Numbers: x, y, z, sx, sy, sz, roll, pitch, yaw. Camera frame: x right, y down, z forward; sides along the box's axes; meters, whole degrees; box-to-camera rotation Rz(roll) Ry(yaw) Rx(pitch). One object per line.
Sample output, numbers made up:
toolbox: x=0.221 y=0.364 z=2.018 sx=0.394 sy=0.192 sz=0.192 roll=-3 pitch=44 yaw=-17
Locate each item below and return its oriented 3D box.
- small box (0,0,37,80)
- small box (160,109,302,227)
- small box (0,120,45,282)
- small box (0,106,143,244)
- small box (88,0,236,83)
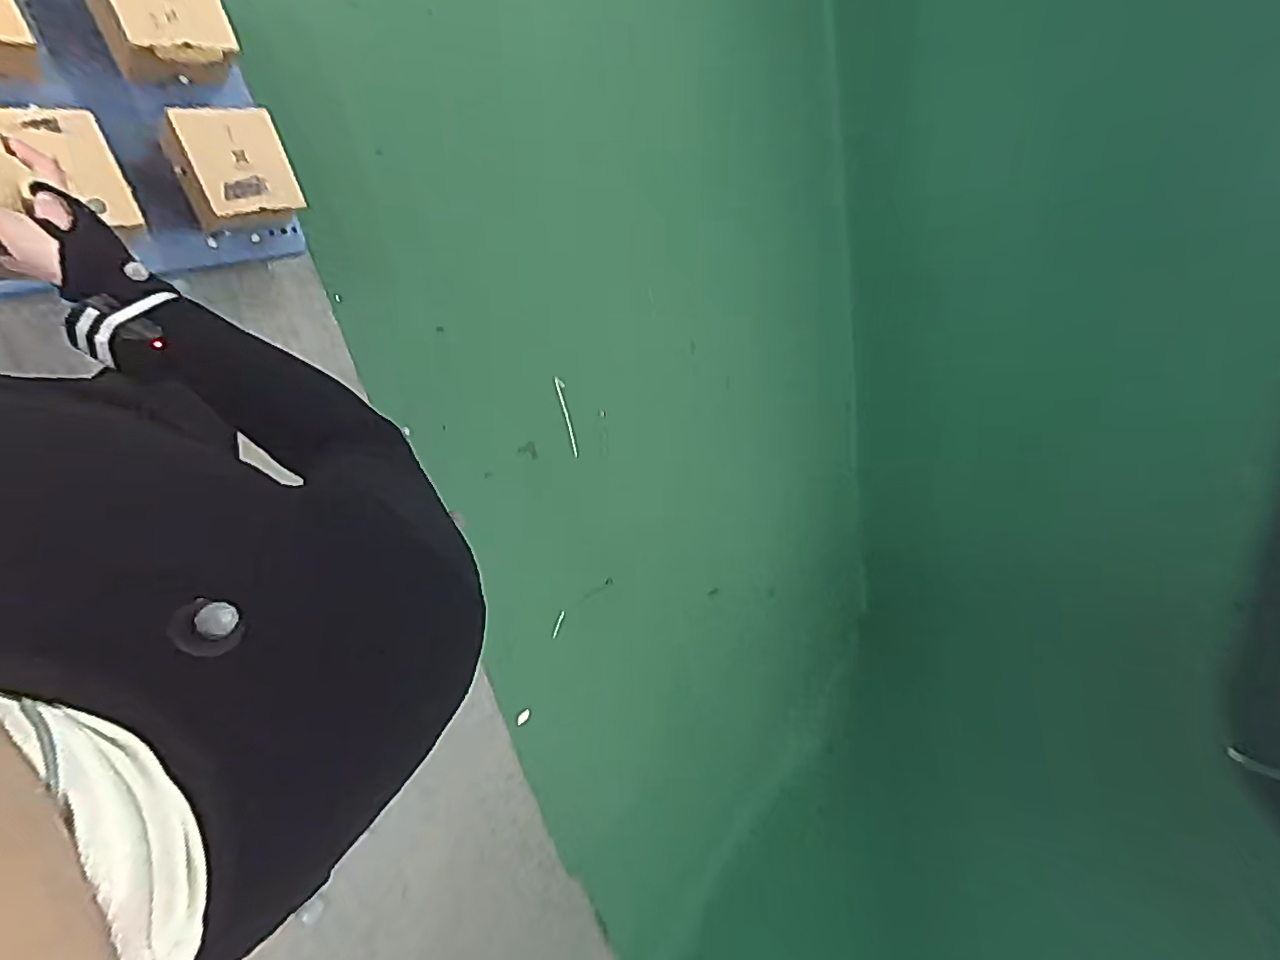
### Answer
small box: x=-1.069 y=-0.740 z=0.812 sx=0.168 sy=0.176 sz=0.179 roll=-31 pitch=120 yaw=-38
small box: x=-0.829 y=-0.625 z=1.097 sx=0.168 sy=0.176 sz=0.179 roll=-33 pitch=119 yaw=-38
small box: x=-0.653 y=-0.269 z=0.453 sx=0.179 sy=0.176 sz=0.168 roll=-19 pitch=106 yaw=-44
small box: x=-0.997 y=-0.510 z=0.922 sx=0.168 sy=0.176 sz=0.179 roll=-31 pitch=118 yaw=-39
small box: x=-0.879 y=-0.859 z=0.980 sx=0.168 sy=0.176 sz=0.179 roll=-31 pitch=118 yaw=-37
